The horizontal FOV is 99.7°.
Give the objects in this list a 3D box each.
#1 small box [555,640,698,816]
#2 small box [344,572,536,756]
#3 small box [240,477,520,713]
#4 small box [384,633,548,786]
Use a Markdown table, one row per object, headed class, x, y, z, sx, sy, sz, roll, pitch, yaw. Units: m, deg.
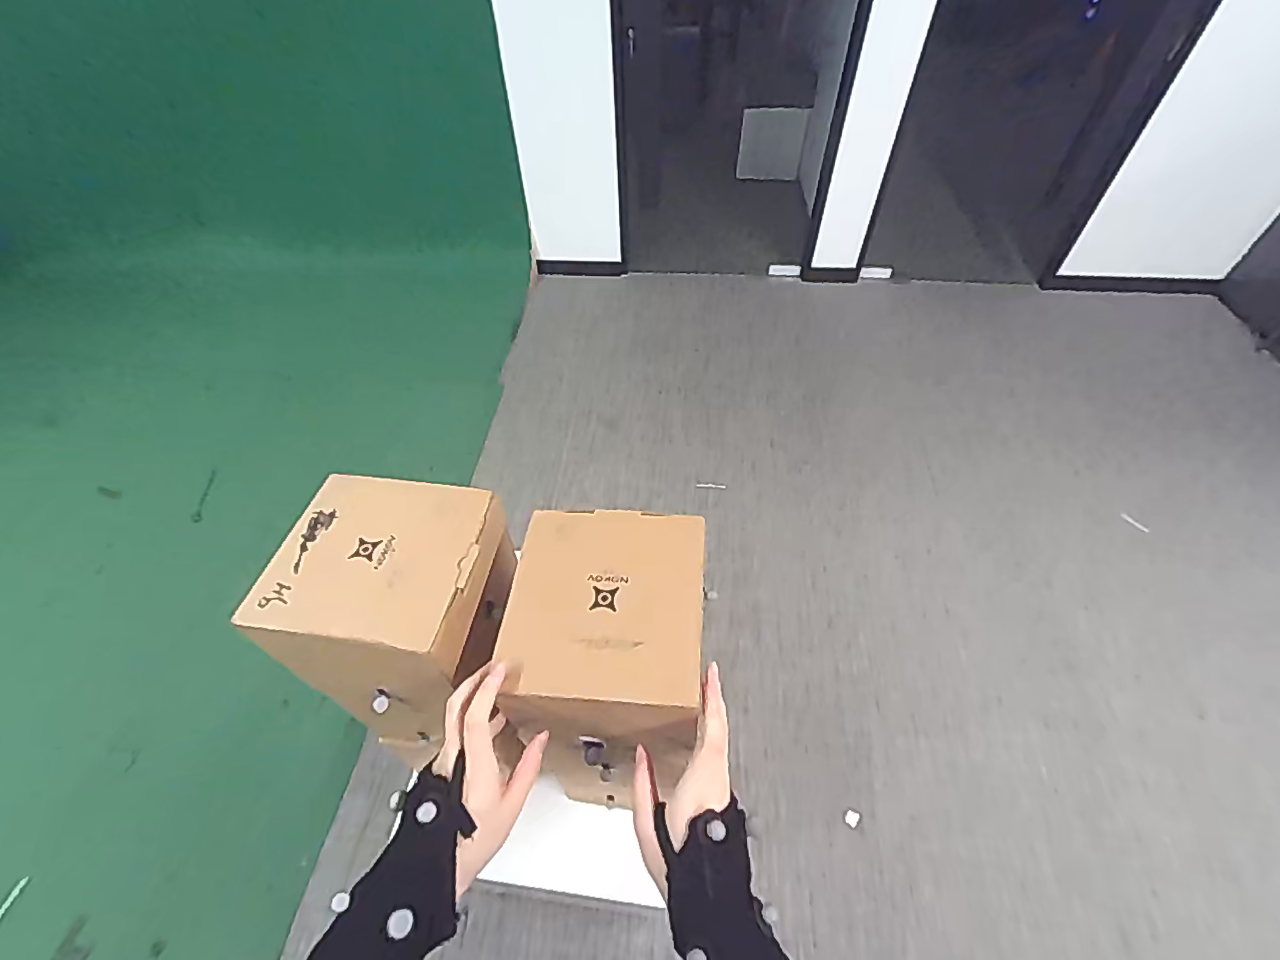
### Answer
| class | x | y | z | sx | sy | sz | roll | pitch | yaw |
| --- | --- | --- | --- | --- | --- | --- | --- | --- | --- |
| small box | -0.011 | 0.355 | 0.774 | 0.168 | 0.176 | 0.179 | 5 | 50 | 8 |
| small box | -0.236 | 0.221 | 0.678 | 0.168 | 0.176 | 0.179 | 6 | 50 | 6 |
| small box | -0.233 | 0.121 | 0.548 | 0.179 | 0.176 | 0.168 | 7 | 50 | 5 |
| small box | -0.240 | 0.330 | 0.801 | 0.168 | 0.176 | 0.179 | 5 | 51 | 5 |
